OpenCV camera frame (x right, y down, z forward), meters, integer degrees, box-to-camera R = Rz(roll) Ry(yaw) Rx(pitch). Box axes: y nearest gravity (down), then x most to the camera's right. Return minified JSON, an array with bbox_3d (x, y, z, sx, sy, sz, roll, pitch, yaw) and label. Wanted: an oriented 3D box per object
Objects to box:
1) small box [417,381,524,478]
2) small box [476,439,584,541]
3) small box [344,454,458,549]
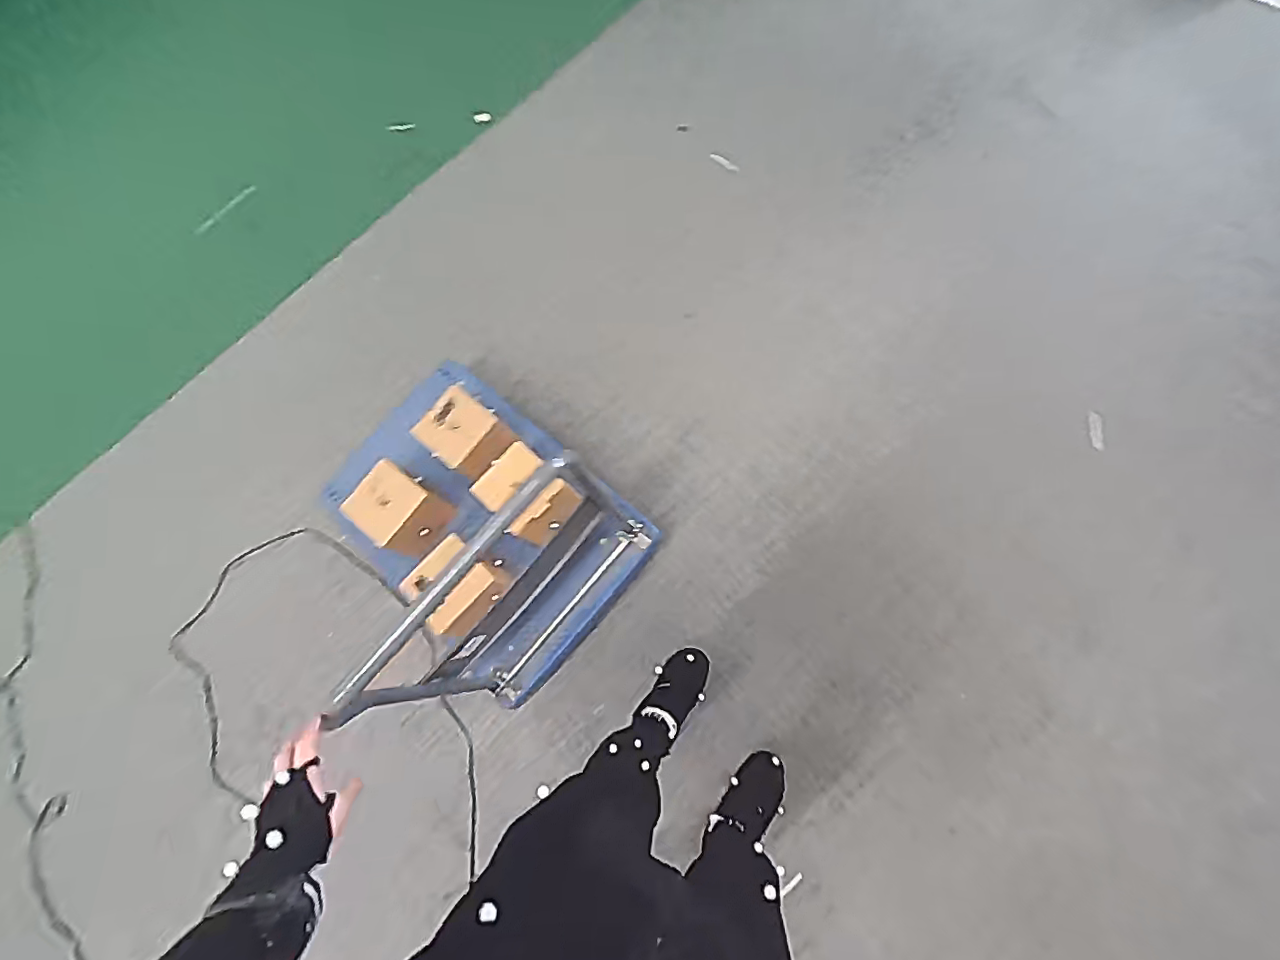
[{"bbox_3d":[-0.446,-0.125,1.441,0.179,0.176,0.168,38,84,18],"label":"small box"},{"bbox_3d":[-0.270,0.032,1.362,0.179,0.176,0.168,42,85,20],"label":"small box"},{"bbox_3d":[-0.616,0.065,1.415,0.179,0.176,0.168,36,82,19],"label":"small box"}]
